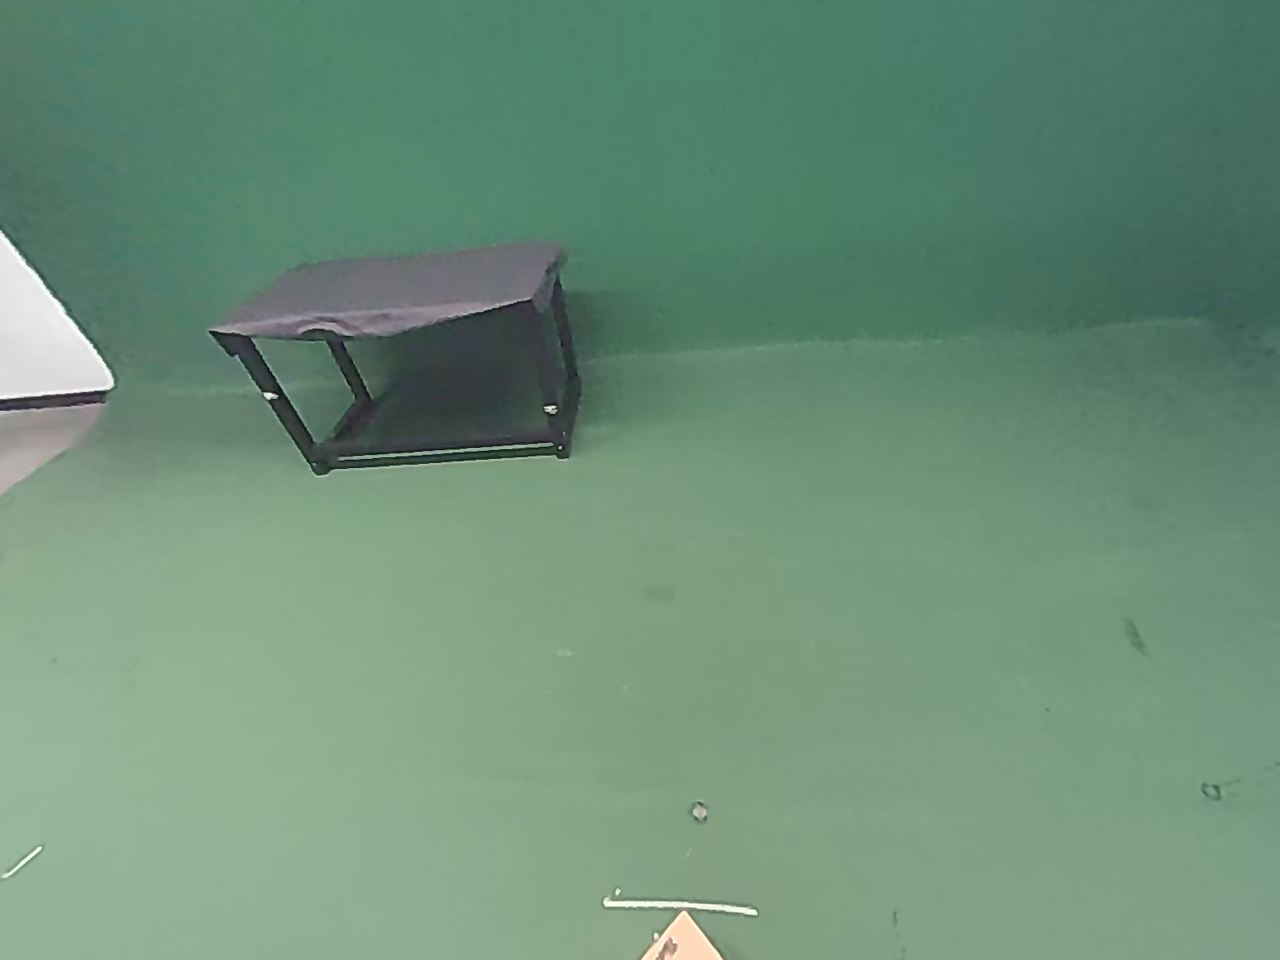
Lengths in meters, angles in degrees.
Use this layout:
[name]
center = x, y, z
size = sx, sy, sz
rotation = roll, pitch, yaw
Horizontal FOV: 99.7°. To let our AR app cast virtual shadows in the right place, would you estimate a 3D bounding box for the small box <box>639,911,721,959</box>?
[small box]
center = 0.080, 0.915, 0.943
size = 0.168, 0.176, 0.179
rotation = -33, 46, -27
